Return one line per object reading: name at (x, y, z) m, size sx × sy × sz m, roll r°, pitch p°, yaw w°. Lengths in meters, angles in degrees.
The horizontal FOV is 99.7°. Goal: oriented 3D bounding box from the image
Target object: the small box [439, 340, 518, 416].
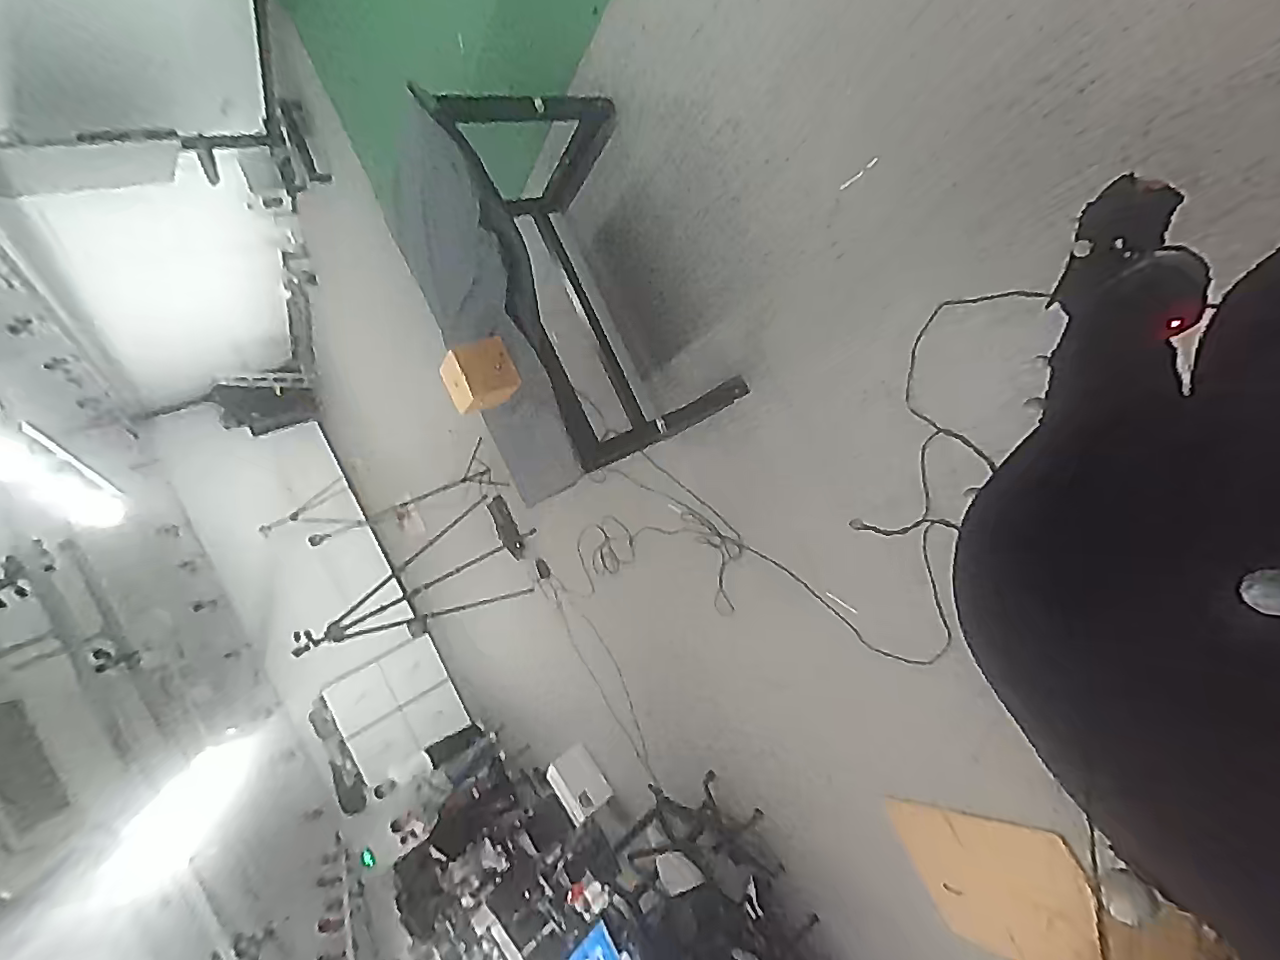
small box at (-0.510, -0.323, 1.710) m, size 0.179 × 0.176 × 0.168 m, roll -24°, pitch 91°, yaw 56°
